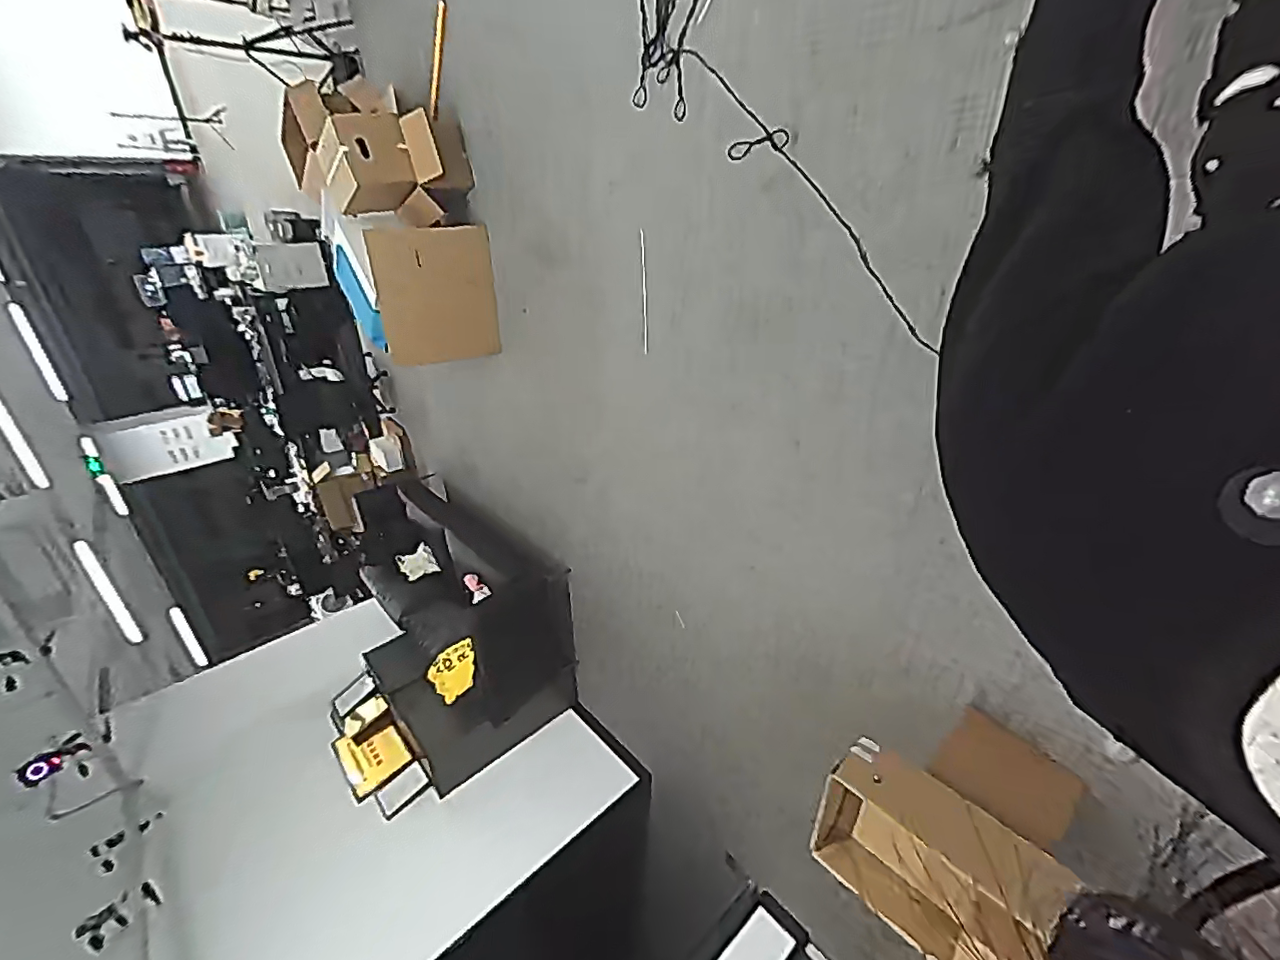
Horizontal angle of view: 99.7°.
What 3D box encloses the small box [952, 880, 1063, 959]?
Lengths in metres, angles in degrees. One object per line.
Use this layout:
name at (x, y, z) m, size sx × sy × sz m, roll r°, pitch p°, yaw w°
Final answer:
small box at (0.853, 1.100, 1.260) m, size 0.168 × 0.176 × 0.179 m, roll 21°, pitch 124°, yaw 42°
